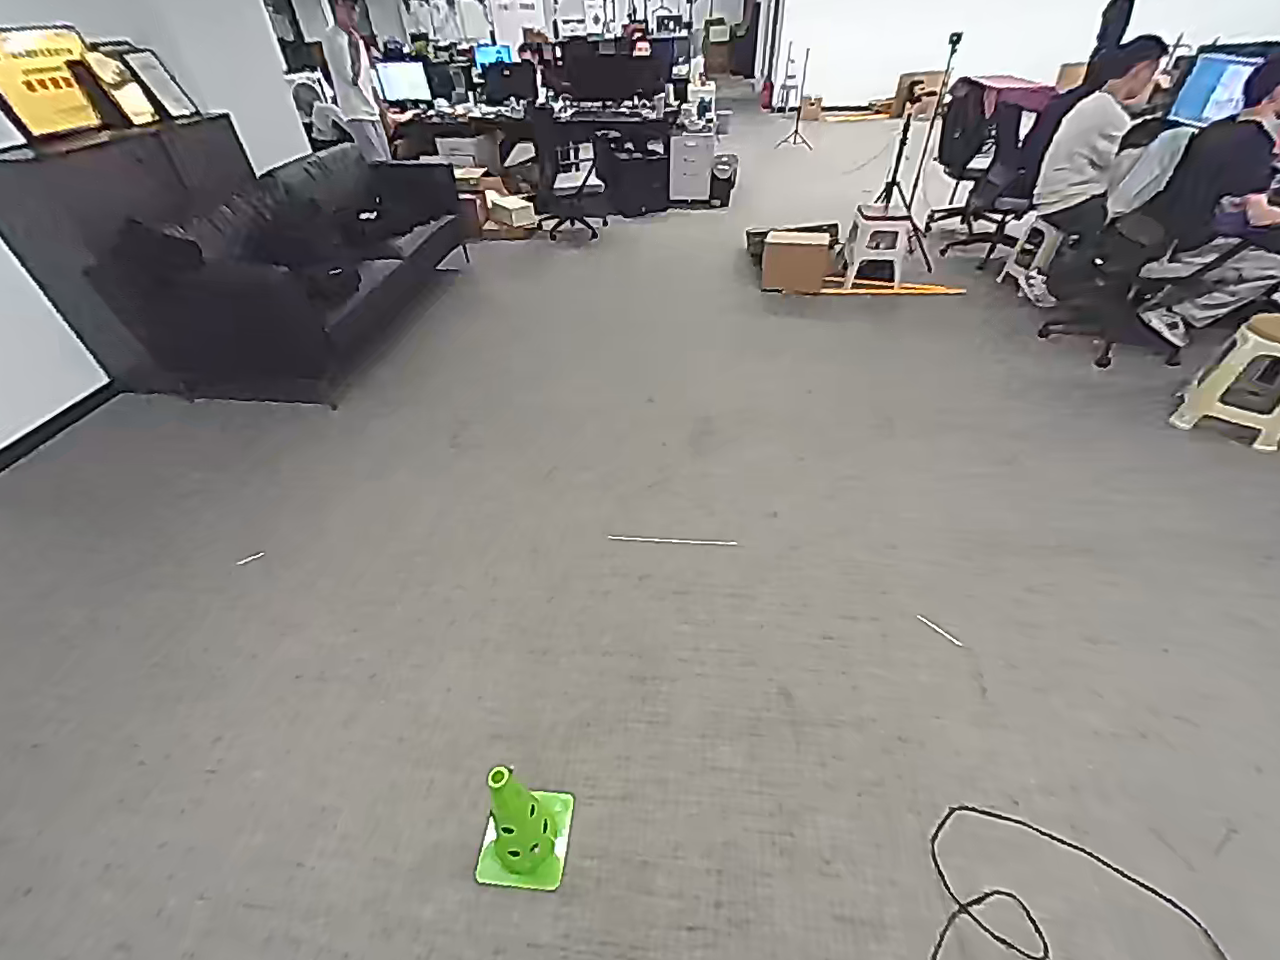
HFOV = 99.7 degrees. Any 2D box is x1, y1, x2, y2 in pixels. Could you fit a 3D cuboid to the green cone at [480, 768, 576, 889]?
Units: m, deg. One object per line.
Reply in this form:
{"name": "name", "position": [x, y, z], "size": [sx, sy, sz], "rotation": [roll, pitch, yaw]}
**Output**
{"name": "green cone", "position": [-0.266, 0.727, 1.184], "size": [0.202, 0.368, 0.200], "rotation": [2, 42, 4]}
